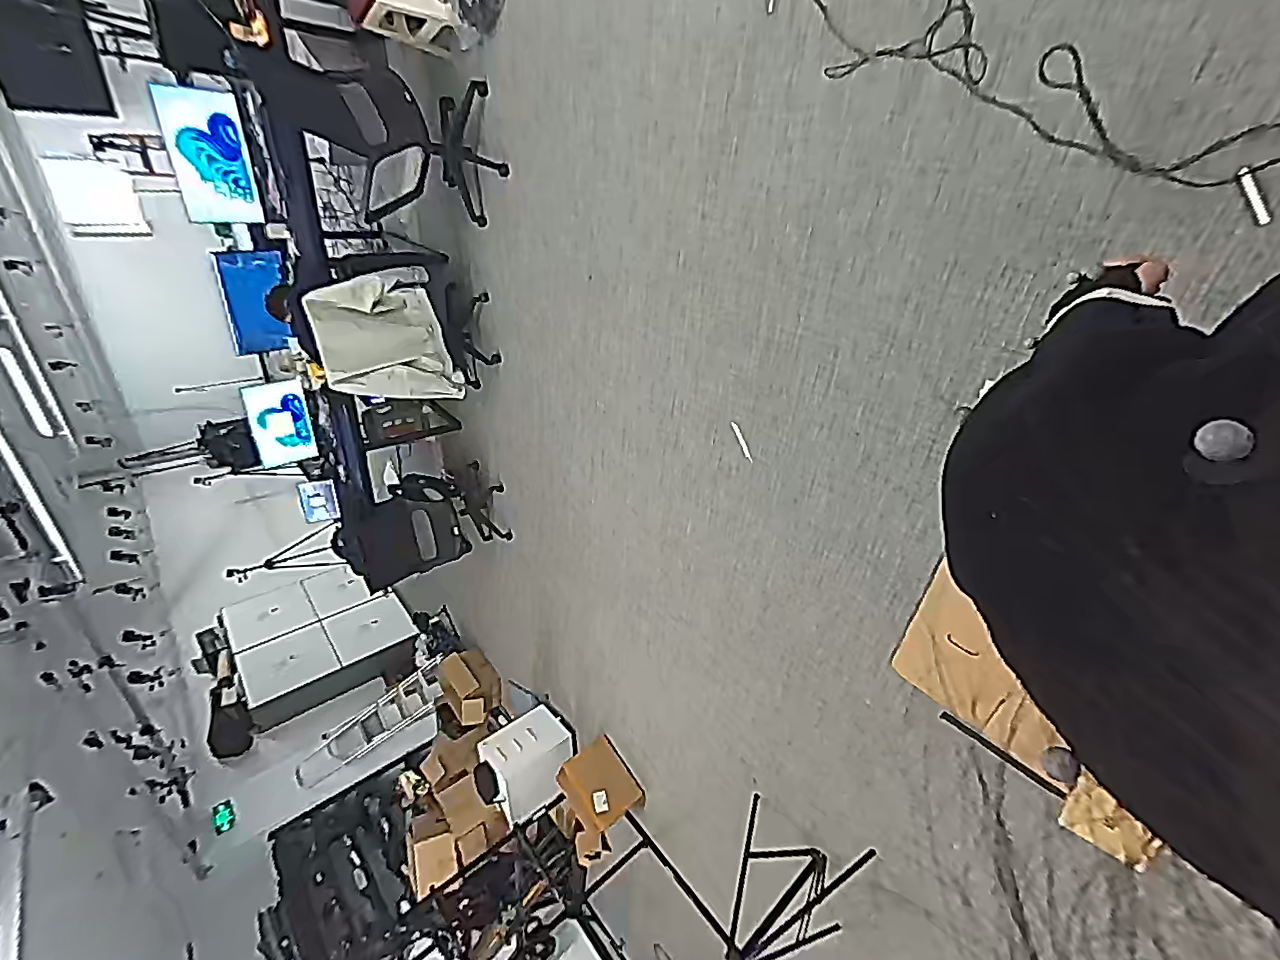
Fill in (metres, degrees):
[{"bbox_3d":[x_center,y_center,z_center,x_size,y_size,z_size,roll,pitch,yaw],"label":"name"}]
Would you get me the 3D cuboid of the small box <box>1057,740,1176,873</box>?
[{"bbox_3d":[1.152,0.778,1.305,0.168,0.176,0.179,23,124,42],"label":"small box"}]
